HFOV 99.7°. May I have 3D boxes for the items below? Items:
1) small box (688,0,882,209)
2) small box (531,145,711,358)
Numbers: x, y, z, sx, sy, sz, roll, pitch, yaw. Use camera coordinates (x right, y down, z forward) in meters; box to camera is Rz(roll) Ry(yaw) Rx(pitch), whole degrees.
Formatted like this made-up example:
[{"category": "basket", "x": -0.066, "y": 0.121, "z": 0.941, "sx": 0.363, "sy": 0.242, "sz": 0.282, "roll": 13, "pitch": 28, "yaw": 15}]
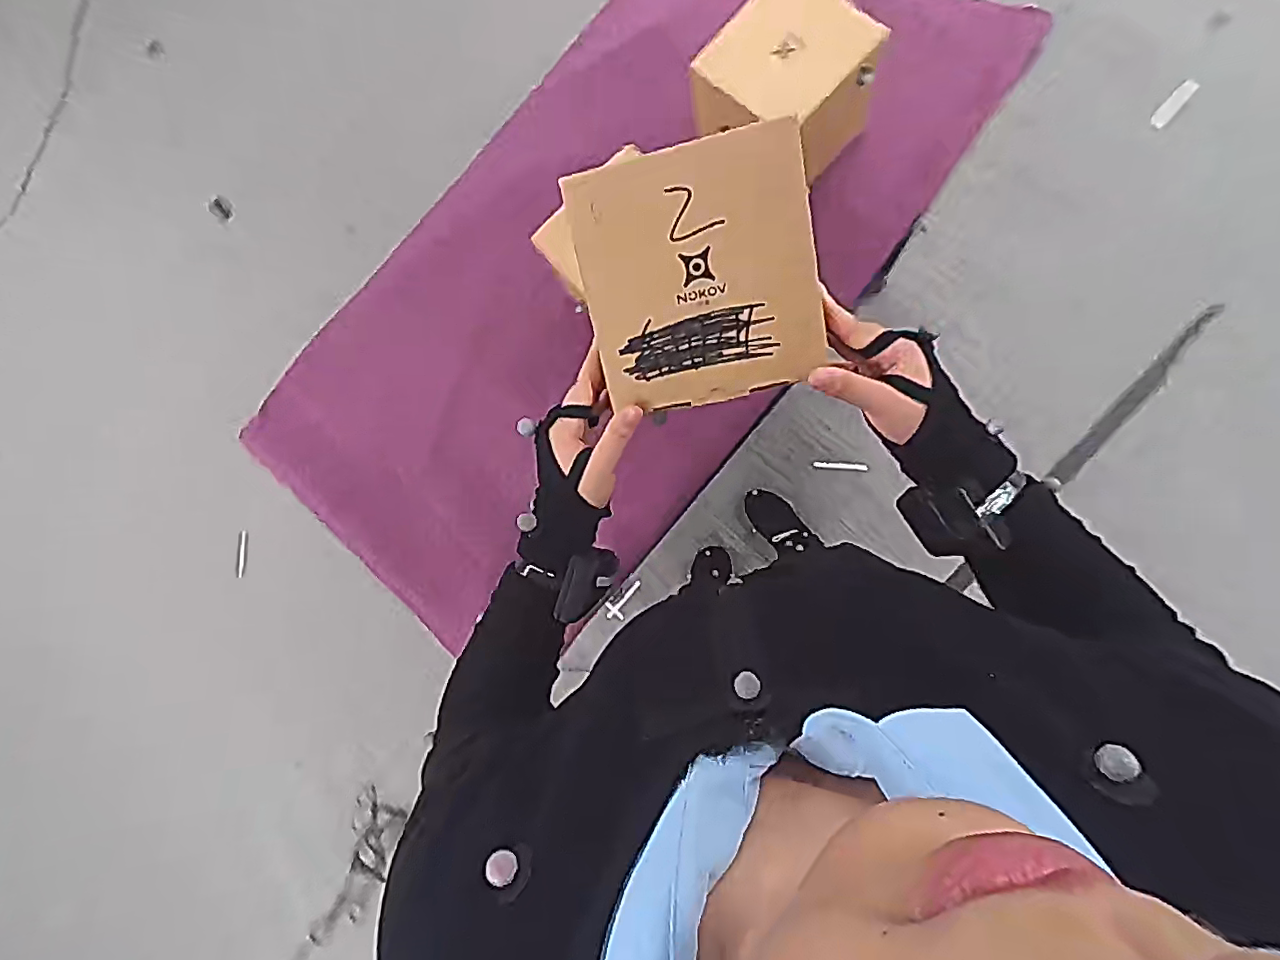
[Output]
[{"category": "small box", "x": 0.191, "y": -0.520, "z": 0.741, "sx": 0.168, "sy": 0.176, "sz": 0.179, "roll": 44, "pitch": 92, "yaw": 12}, {"category": "small box", "x": -0.013, "y": -0.300, "z": 0.752, "sx": 0.179, "sy": 0.176, "sz": 0.168, "roll": -42, "pitch": 80, "yaw": 3}]
